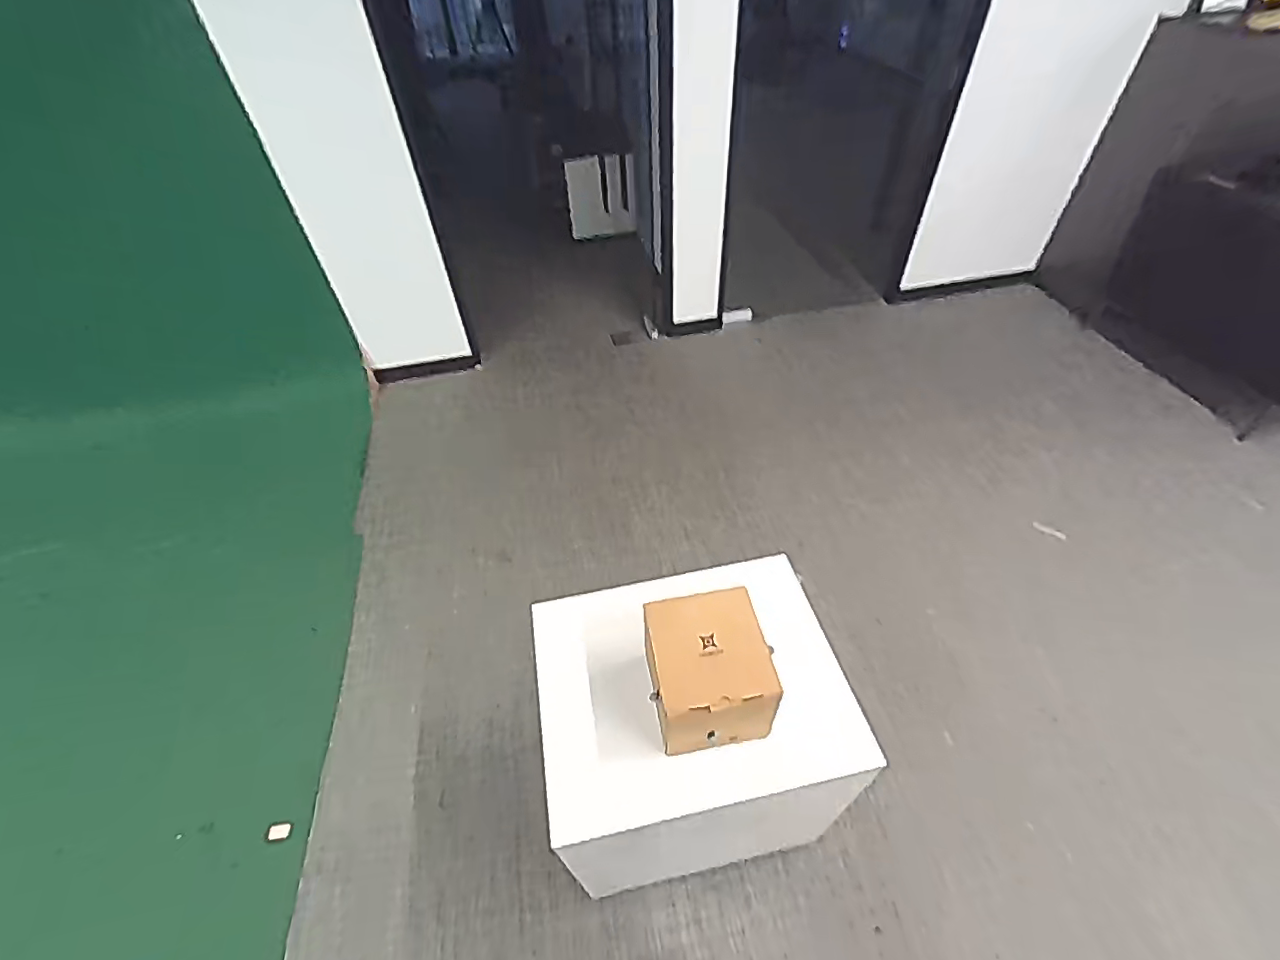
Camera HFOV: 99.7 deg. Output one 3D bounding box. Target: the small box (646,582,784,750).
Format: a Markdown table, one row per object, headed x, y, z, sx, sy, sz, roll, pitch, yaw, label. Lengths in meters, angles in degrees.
| x | y | z | sx | sy | sz | roll | pitch | yaw | label |
| --- | --- | --- | --- | --- | --- | --- | --- | --- | --- |
| 0.104 | 0.286 | 0.834 | 0.168 | 0.176 | 0.179 | -9 | 47 | -5 | small box |
